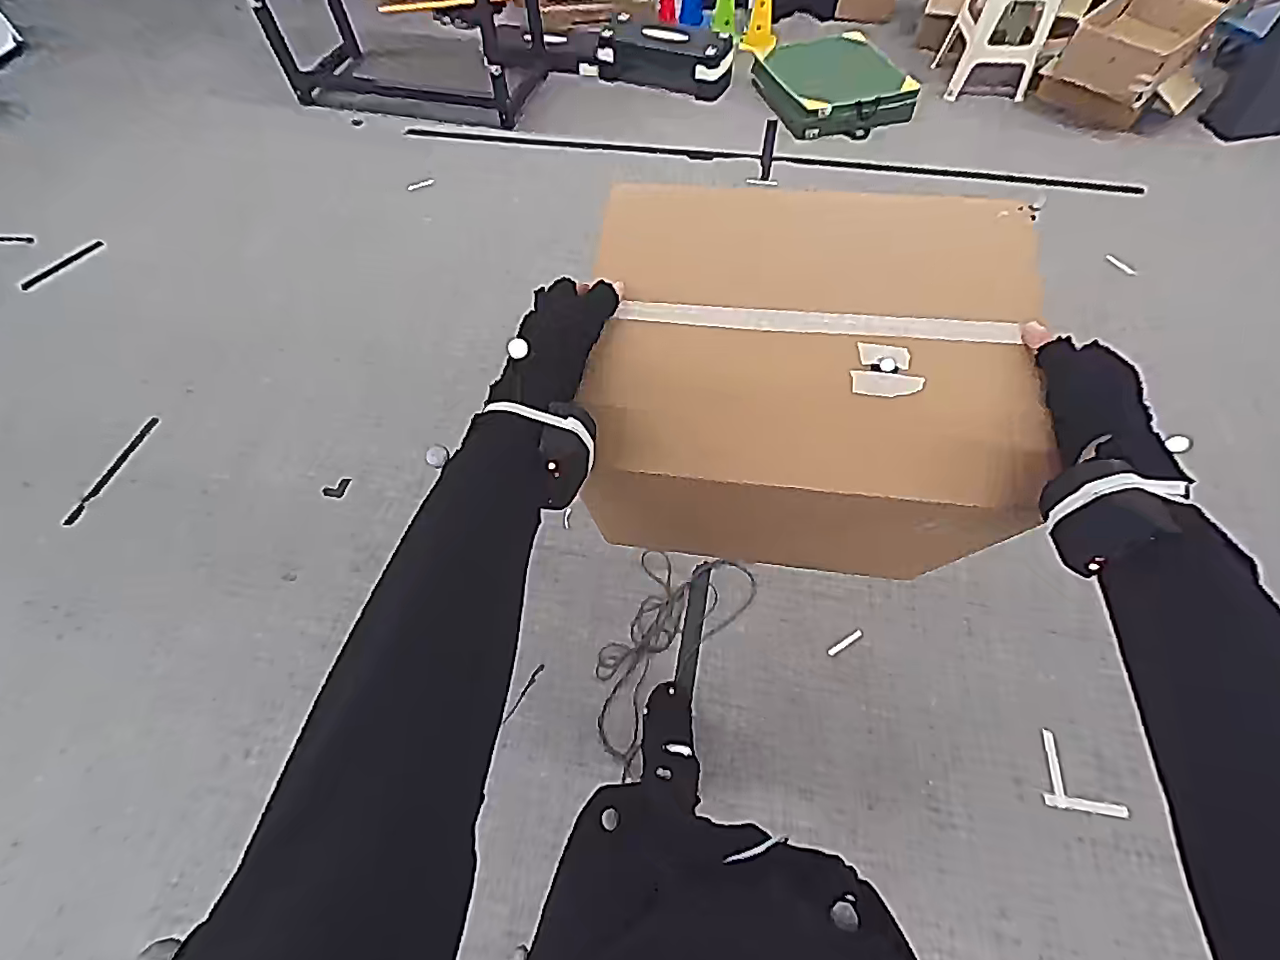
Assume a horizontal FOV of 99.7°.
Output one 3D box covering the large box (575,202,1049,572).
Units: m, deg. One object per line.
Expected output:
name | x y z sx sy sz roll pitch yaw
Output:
large box | 0.164 -0.087 0.646 0.408 0.320 0.320 6 72 7
